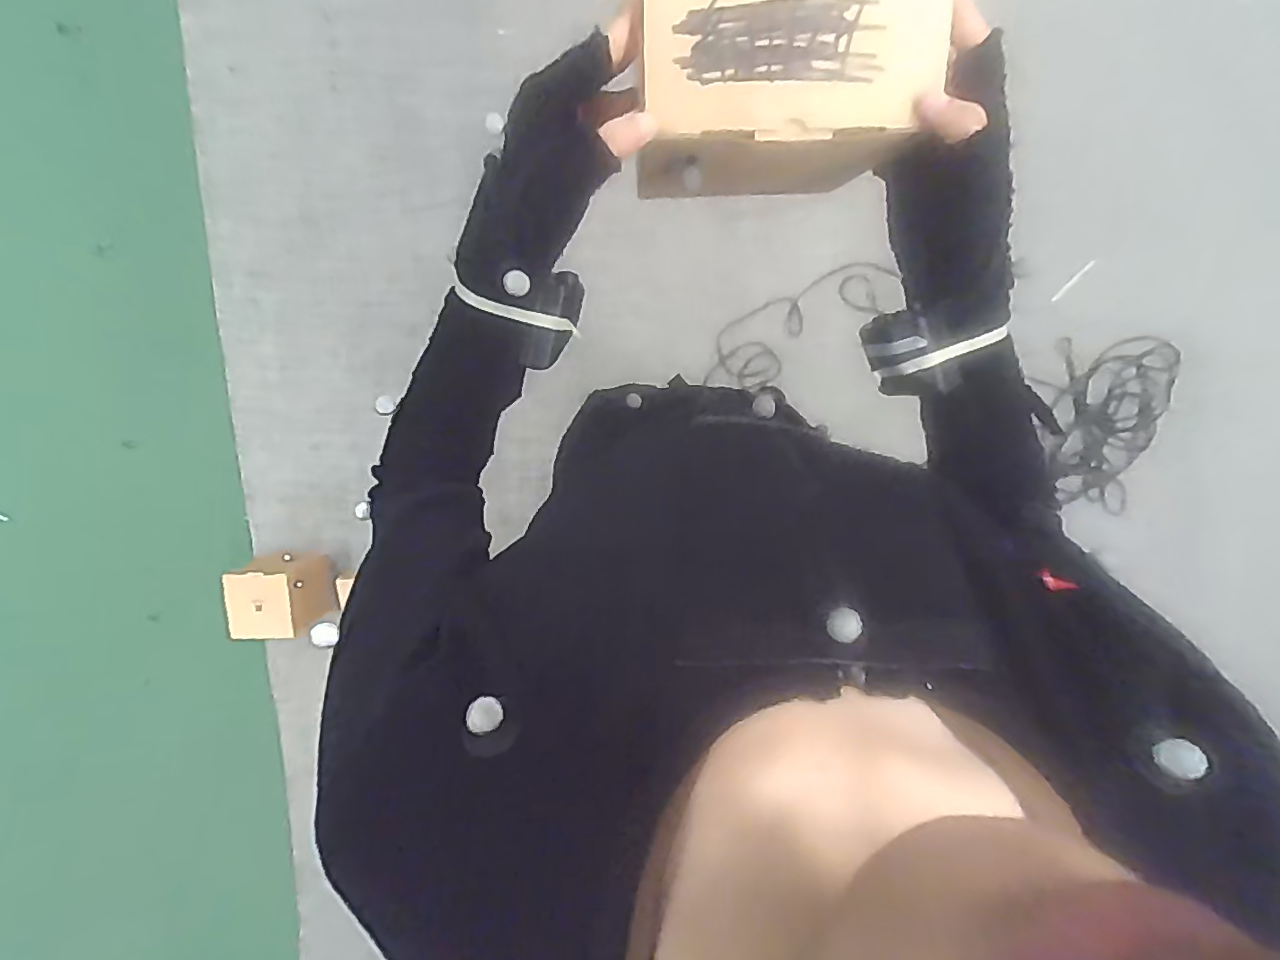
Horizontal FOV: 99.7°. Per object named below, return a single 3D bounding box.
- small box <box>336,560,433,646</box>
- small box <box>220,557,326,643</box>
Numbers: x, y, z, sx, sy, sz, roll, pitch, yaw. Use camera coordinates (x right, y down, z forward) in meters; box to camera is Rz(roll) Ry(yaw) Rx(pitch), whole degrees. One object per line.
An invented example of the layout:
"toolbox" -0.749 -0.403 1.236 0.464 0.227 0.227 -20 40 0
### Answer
"small box" -0.669 0.318 1.432 0.168 0.176 0.179 -5 100 1
"small box" -0.962 0.313 1.433 0.168 0.176 0.179 -1 98 -1
